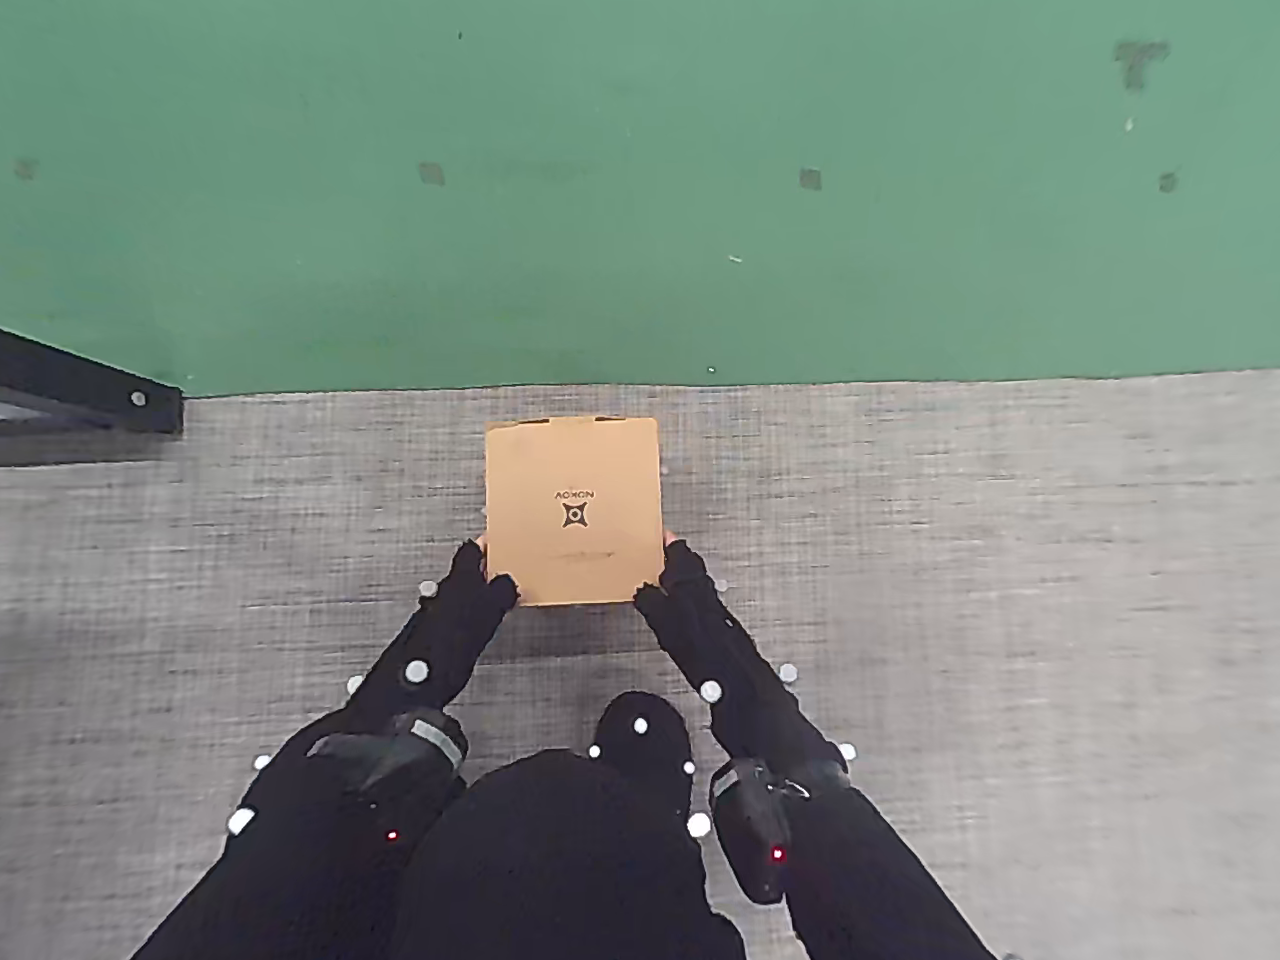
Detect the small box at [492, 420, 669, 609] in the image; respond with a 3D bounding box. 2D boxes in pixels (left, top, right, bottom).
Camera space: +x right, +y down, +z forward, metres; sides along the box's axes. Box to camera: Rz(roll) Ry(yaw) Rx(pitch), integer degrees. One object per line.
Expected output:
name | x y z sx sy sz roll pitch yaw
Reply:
small box | -0.060 0.039 0.588 0.168 0.176 0.179 -3 84 -2
